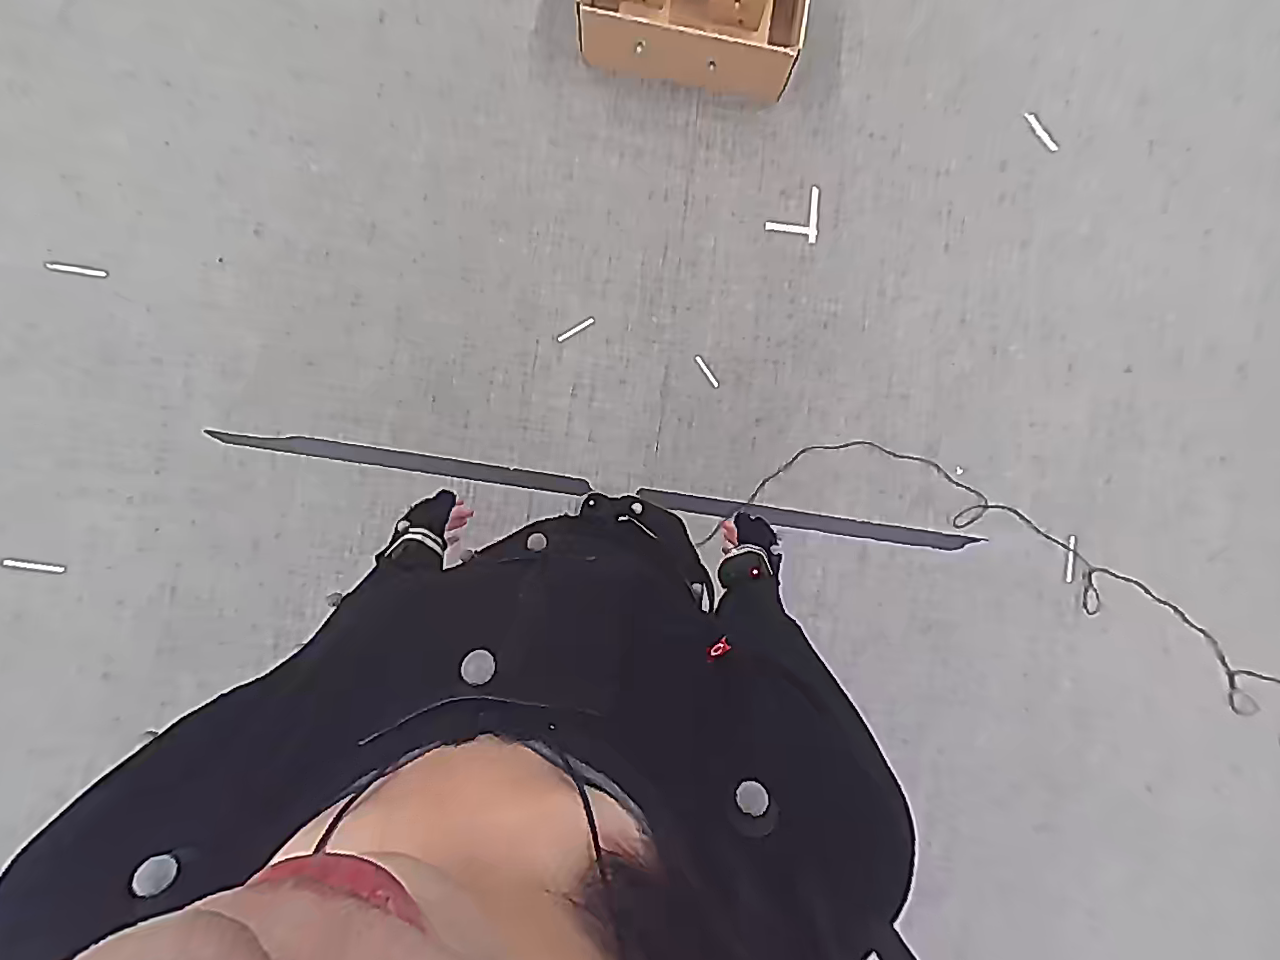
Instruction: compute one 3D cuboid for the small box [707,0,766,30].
[{"bbox_3d":[0.286,-1.422,1.515,0.168,0.176,0.179,11,87,0],"label":"small box"}]
